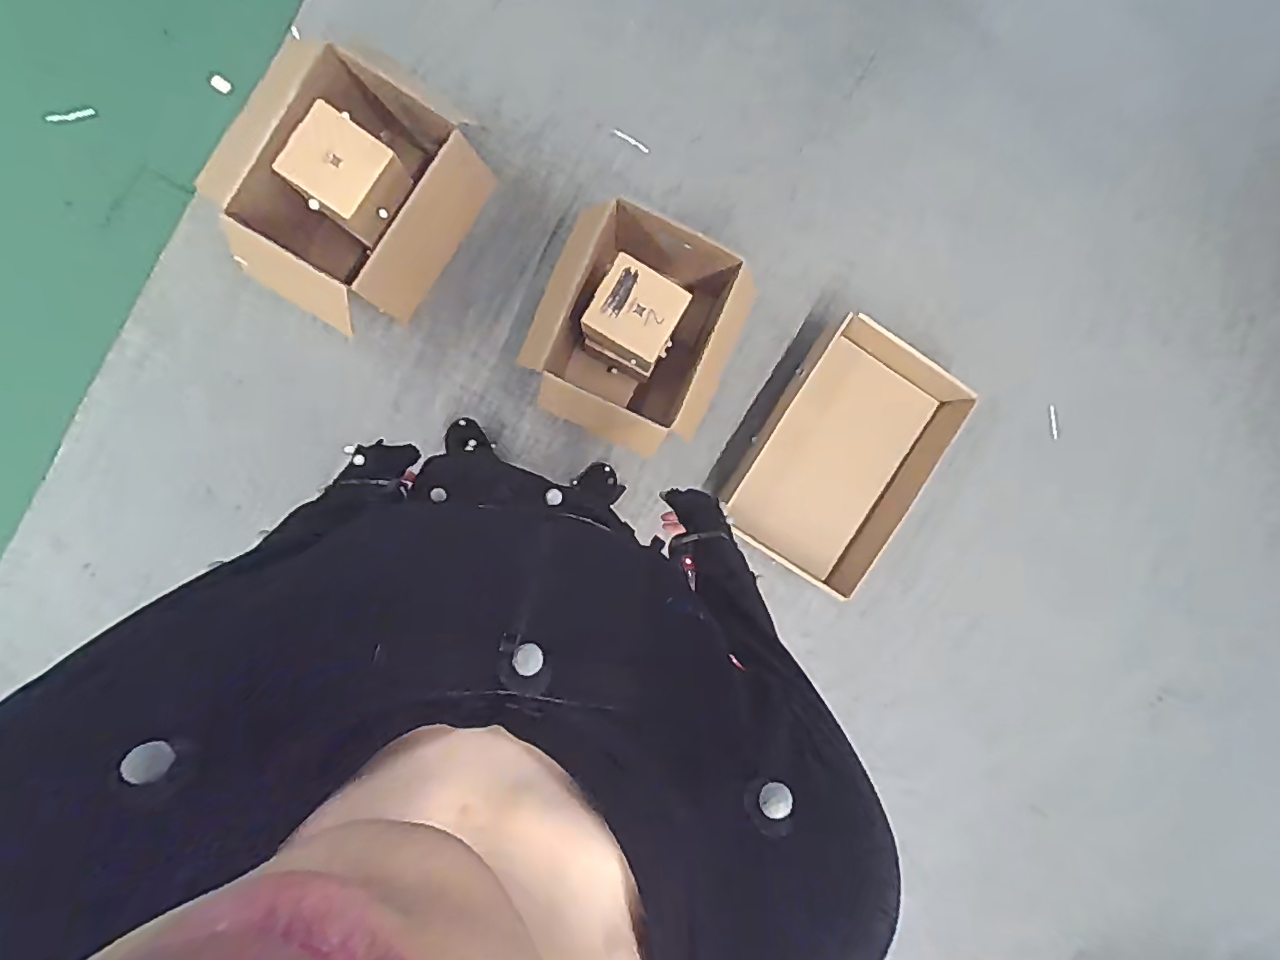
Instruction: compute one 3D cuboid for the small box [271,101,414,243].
[{"bbox_3d":[-0.614,-0.633,1.143,0.179,0.176,0.168,34,90,-6],"label":"small box"}]
